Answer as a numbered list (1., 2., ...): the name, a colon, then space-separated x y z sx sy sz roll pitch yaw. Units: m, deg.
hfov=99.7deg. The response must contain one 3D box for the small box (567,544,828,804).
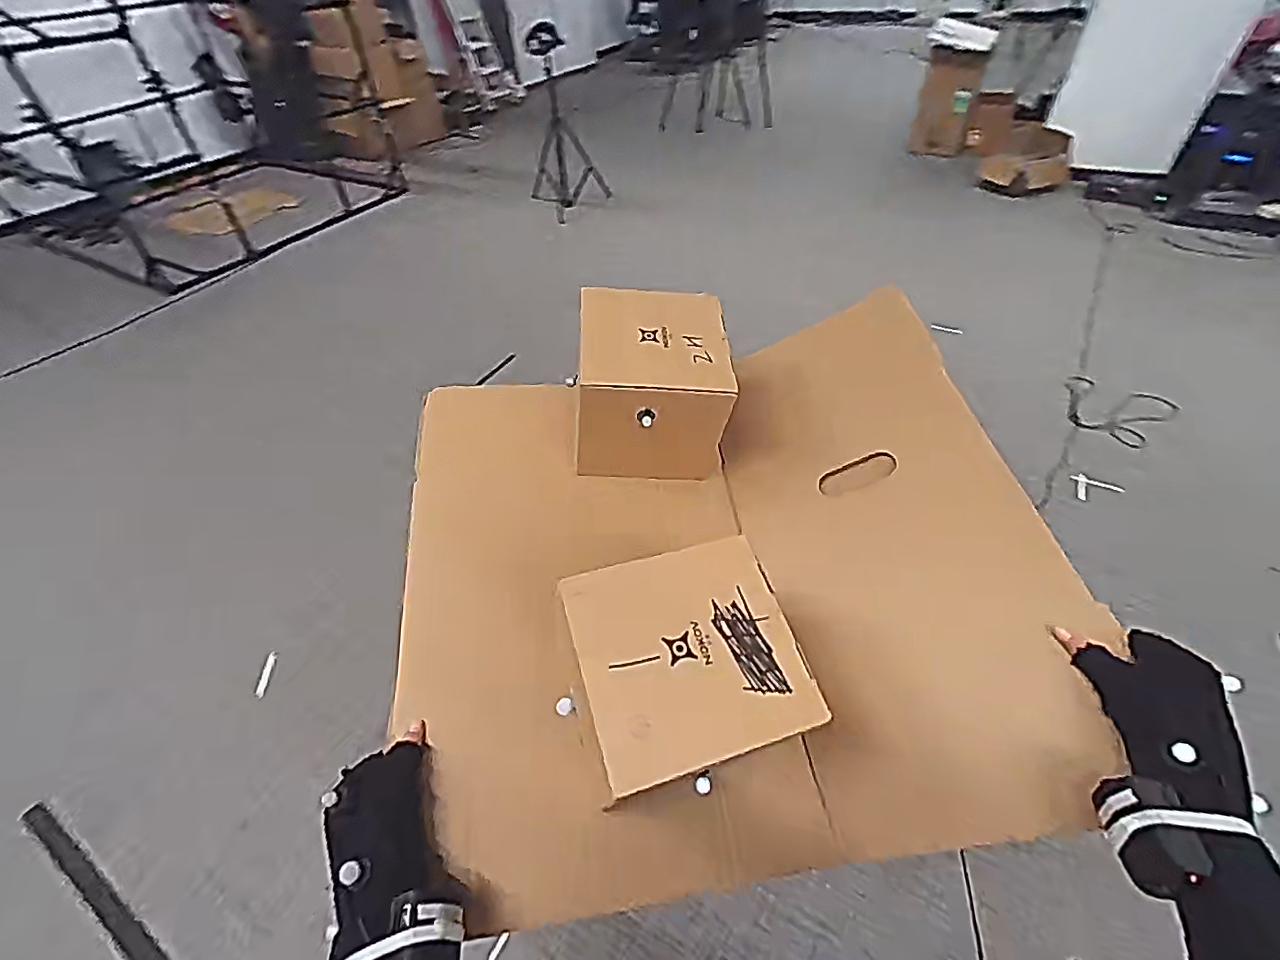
1. small box: 0.033 0.182 0.502 0.179 0.176 0.168 -11 58 -15

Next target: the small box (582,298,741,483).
1. small box: 0.017 -0.110 0.700 0.179 0.176 0.168 3 56 -7
